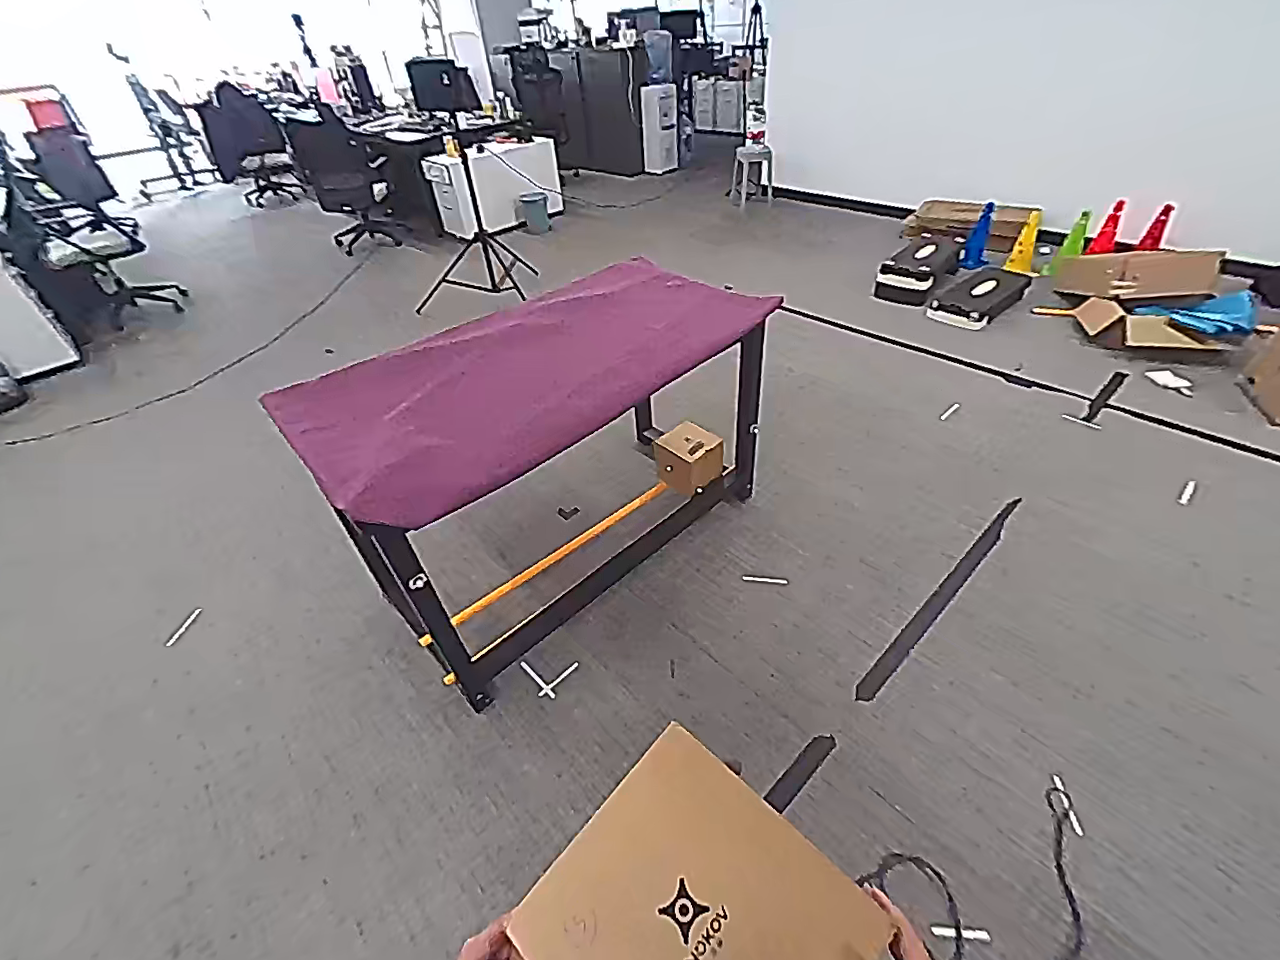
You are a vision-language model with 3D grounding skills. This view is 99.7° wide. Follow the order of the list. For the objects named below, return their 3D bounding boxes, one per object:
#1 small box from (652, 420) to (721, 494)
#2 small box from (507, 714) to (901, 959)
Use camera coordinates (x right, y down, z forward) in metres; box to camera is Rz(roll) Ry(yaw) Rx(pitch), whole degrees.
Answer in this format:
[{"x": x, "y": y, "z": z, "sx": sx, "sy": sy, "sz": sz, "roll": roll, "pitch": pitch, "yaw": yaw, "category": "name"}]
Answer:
[{"x": 0.163, "y": -0.076, "z": 1.879, "sx": 0.168, "sy": 0.176, "sz": 0.179, "roll": -34, "pitch": 48, "yaw": -28, "category": "small box"}, {"x": 0.043, "y": 0.309, "z": 0.377, "sx": 0.179, "sy": 0.176, "sz": 0.168, "roll": 33, "pitch": 62, "yaw": 32, "category": "small box"}]
